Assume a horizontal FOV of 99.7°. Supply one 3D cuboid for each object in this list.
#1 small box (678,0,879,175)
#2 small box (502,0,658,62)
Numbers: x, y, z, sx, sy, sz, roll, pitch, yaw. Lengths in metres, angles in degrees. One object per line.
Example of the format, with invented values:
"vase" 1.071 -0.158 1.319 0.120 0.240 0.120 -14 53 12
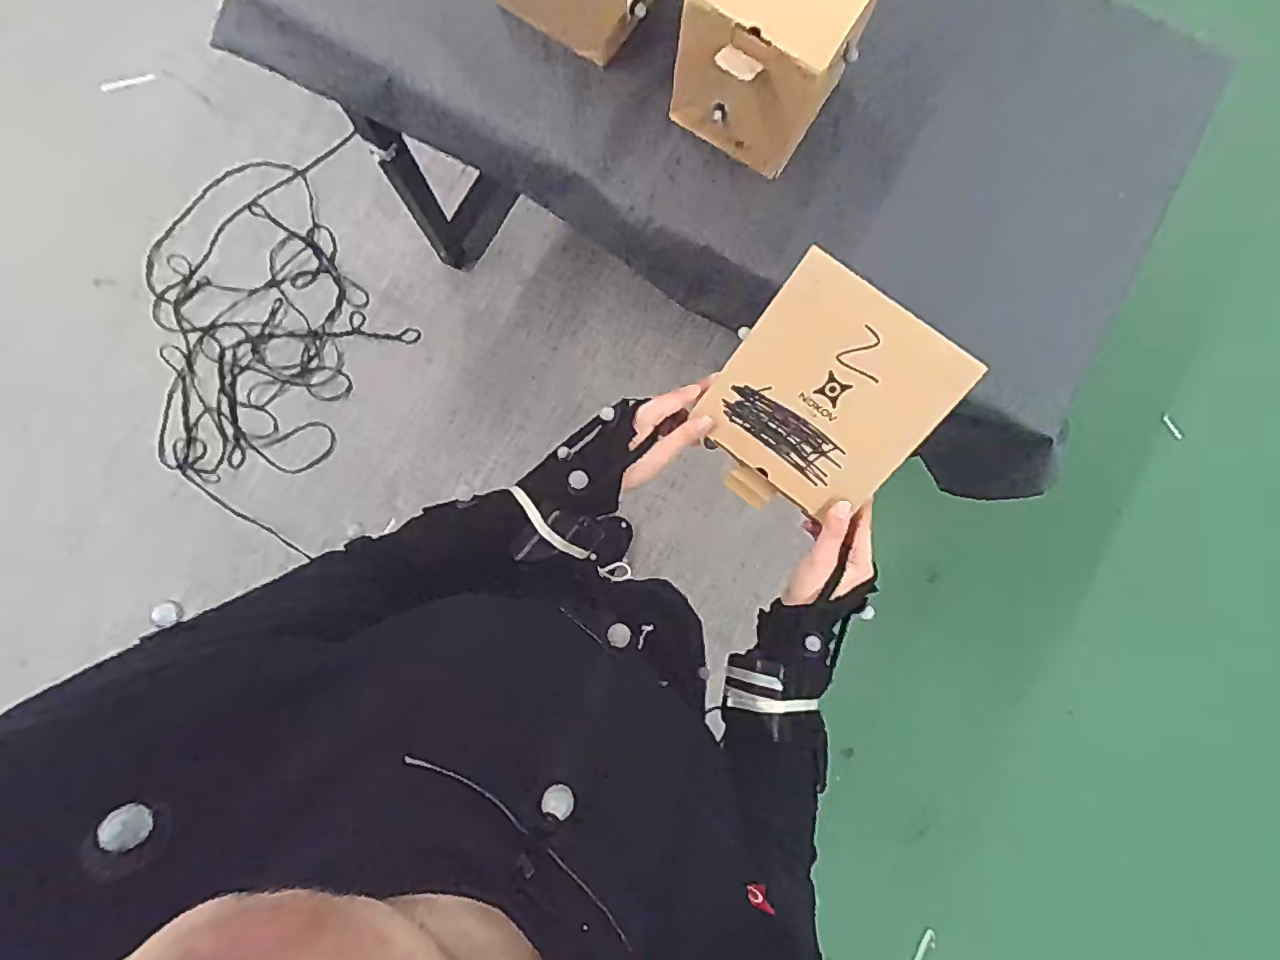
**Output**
"small box" 0.157 -0.516 0.639 0.168 0.176 0.179 31 84 1
"small box" -0.071 -0.659 0.642 0.179 0.176 0.168 32 85 0
